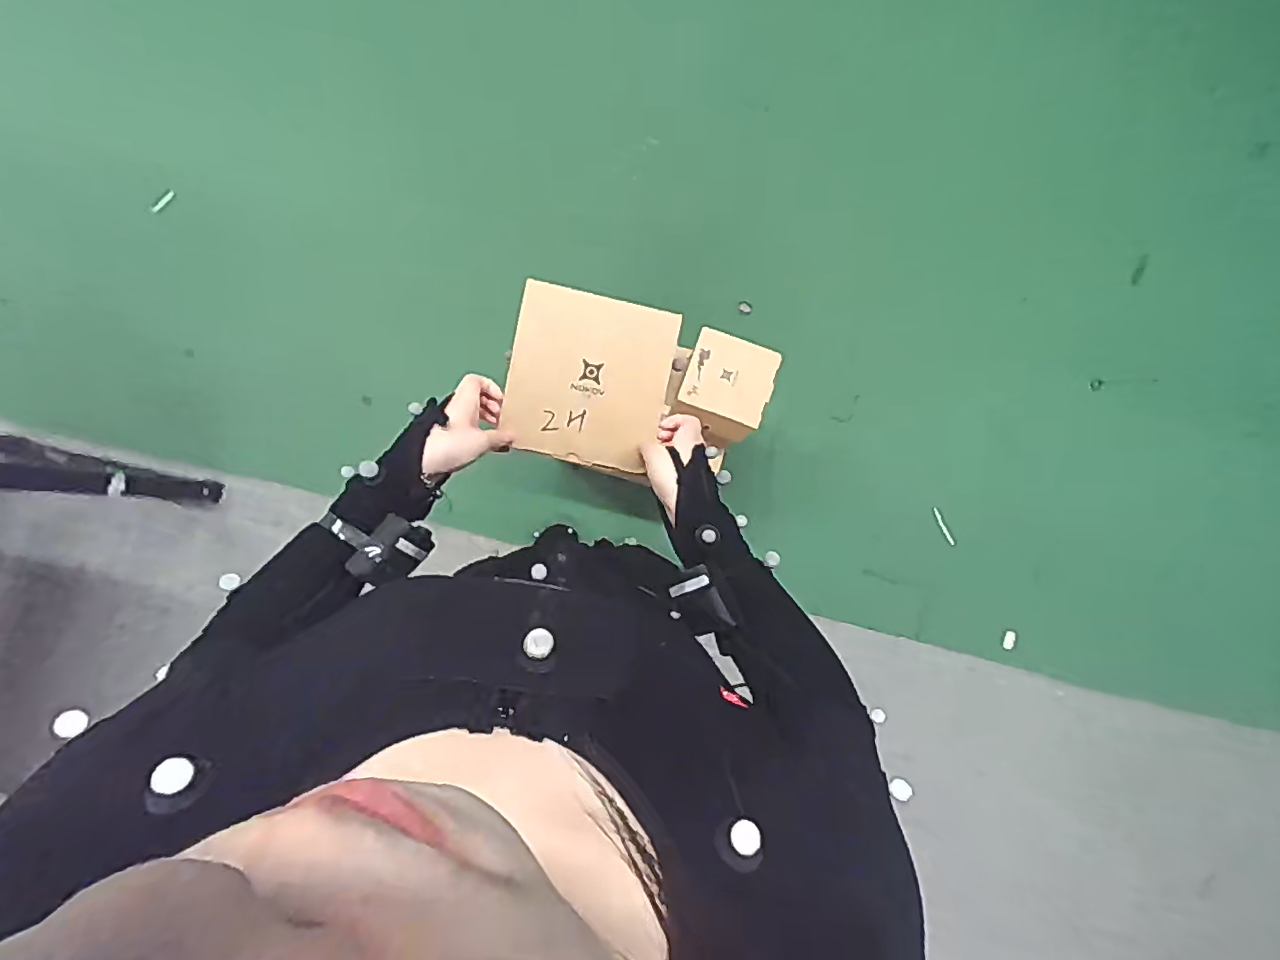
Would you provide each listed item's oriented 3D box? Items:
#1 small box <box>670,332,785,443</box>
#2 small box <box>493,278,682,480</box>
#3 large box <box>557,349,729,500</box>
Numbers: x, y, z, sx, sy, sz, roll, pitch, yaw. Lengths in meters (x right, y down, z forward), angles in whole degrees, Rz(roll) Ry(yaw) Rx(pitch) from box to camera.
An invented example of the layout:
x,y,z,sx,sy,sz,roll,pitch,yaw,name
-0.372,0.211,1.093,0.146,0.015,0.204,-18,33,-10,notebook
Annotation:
x,y,z,sx,sy,sz,roll,pitch,yaw,name
0.178,-0.186,1.154,0.179,0.176,0.168,21,83,-1,small box
-0.059,-0.108,0.630,0.168,0.176,0.179,12,94,-5,small box
0.010,-0.151,1.387,0.408,0.320,0.320,16,85,-3,large box
